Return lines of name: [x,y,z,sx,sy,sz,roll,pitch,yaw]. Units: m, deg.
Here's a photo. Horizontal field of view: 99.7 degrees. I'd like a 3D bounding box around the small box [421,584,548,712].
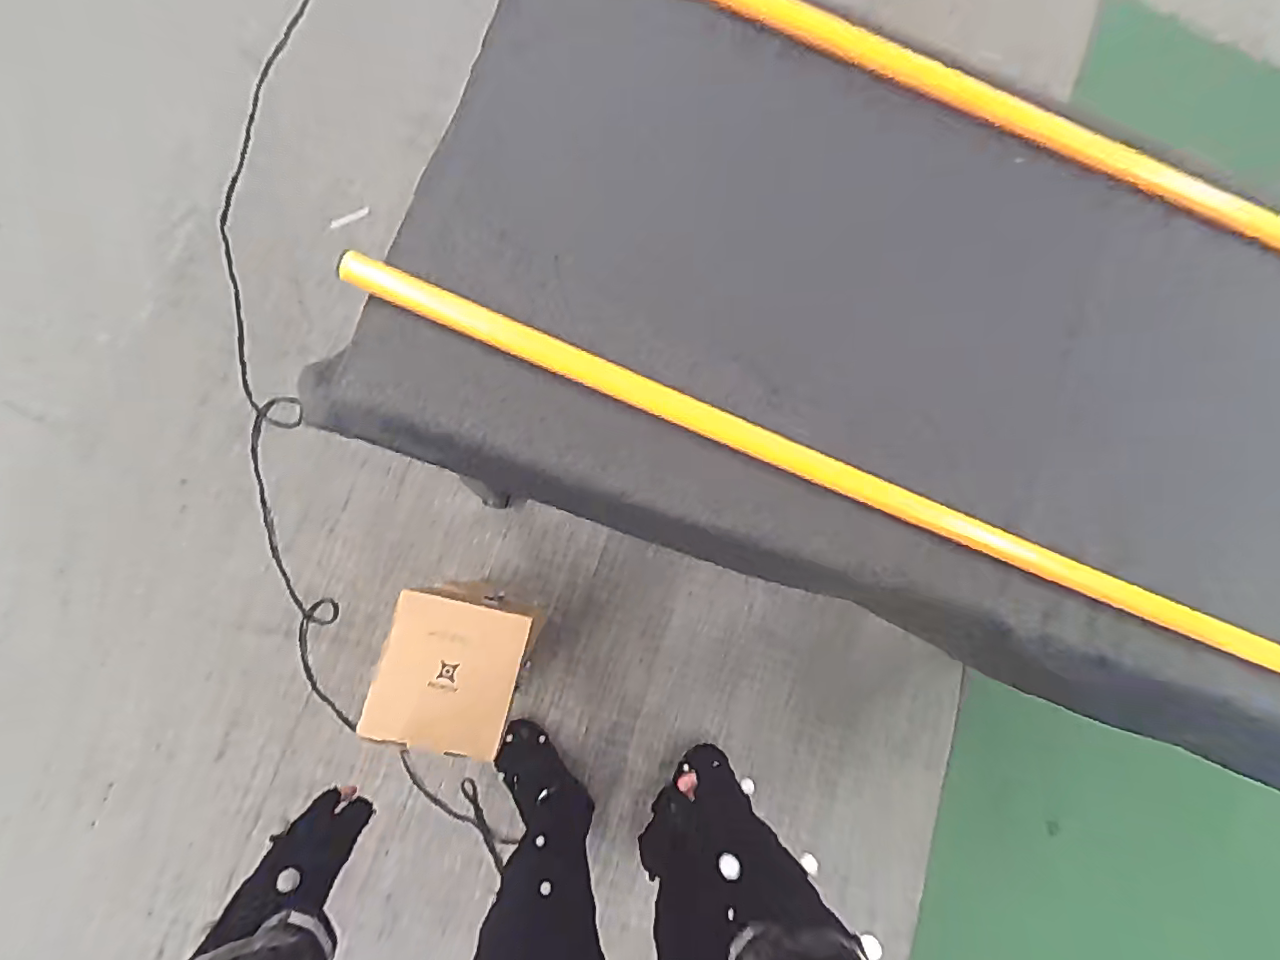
small box: [-0.290,0.313,1.049,0.168,0.176,0.179,27,78,-2]
